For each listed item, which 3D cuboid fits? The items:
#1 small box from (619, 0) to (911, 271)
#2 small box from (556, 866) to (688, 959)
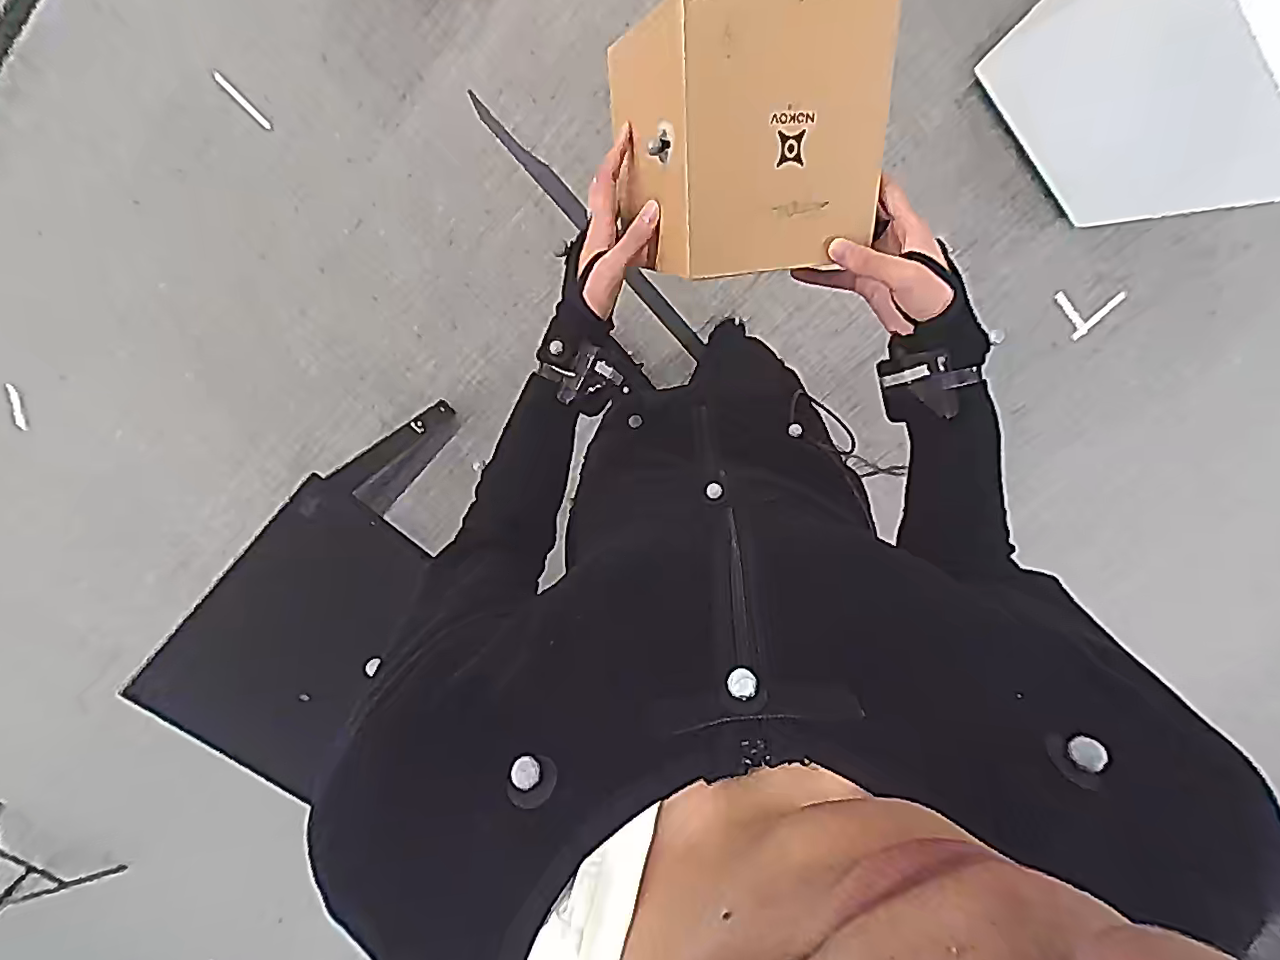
[{"bbox_3d":[0.085,-0.278,0.448,0.168,0.176,0.179,-12,119,-16],"label":"small box"},{"bbox_3d":[-0.028,0.807,0.909,0.168,0.176,0.179,42,102,-15],"label":"small box"}]
